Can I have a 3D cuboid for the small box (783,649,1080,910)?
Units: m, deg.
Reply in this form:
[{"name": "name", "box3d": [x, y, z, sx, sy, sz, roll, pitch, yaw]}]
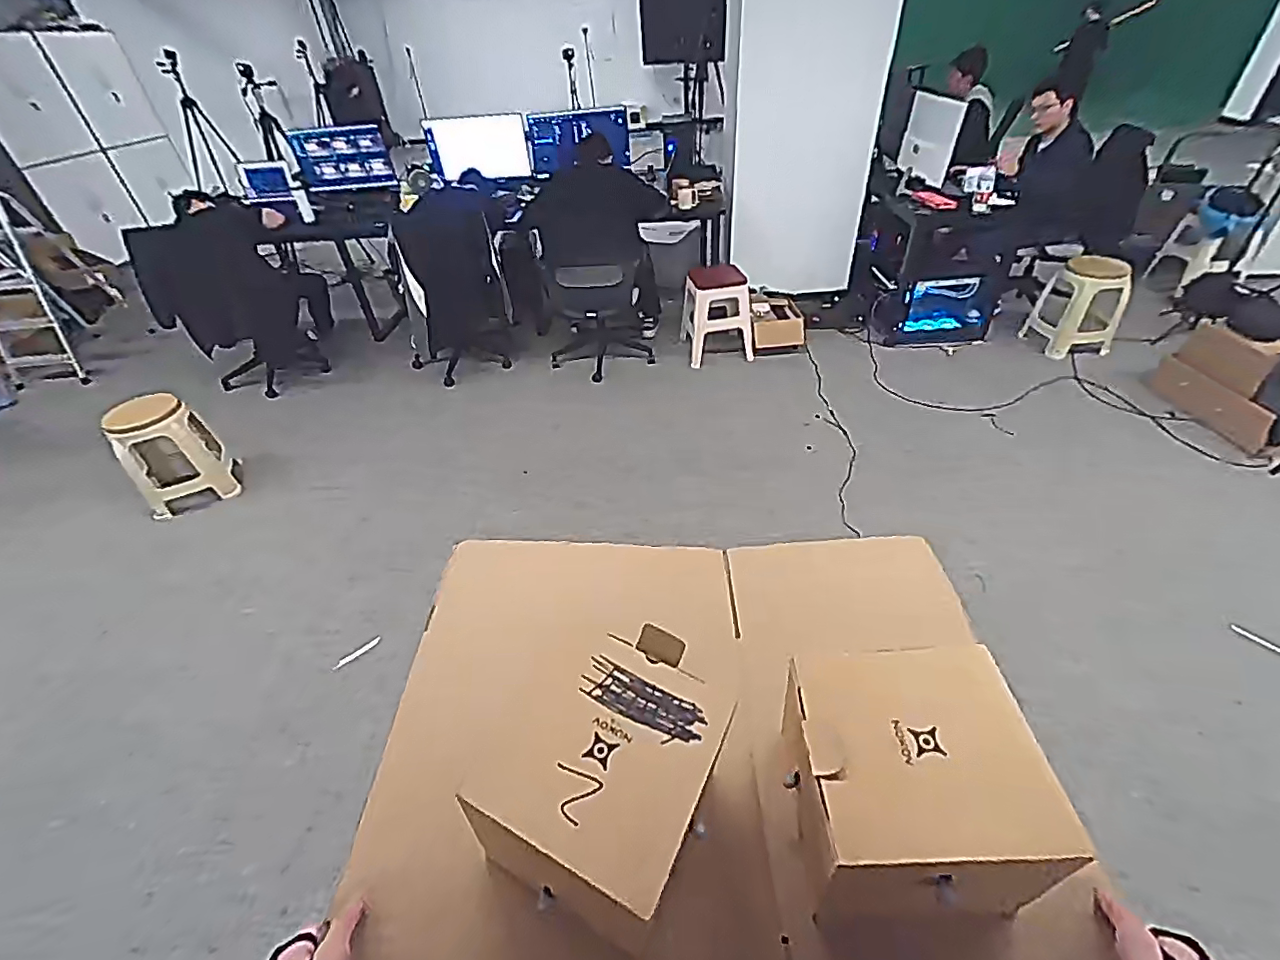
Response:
[{"name": "small box", "box3d": [0.238, 0.277, 0.501, 0.179, 0.176, 0.168, -6, 41, 5]}]
